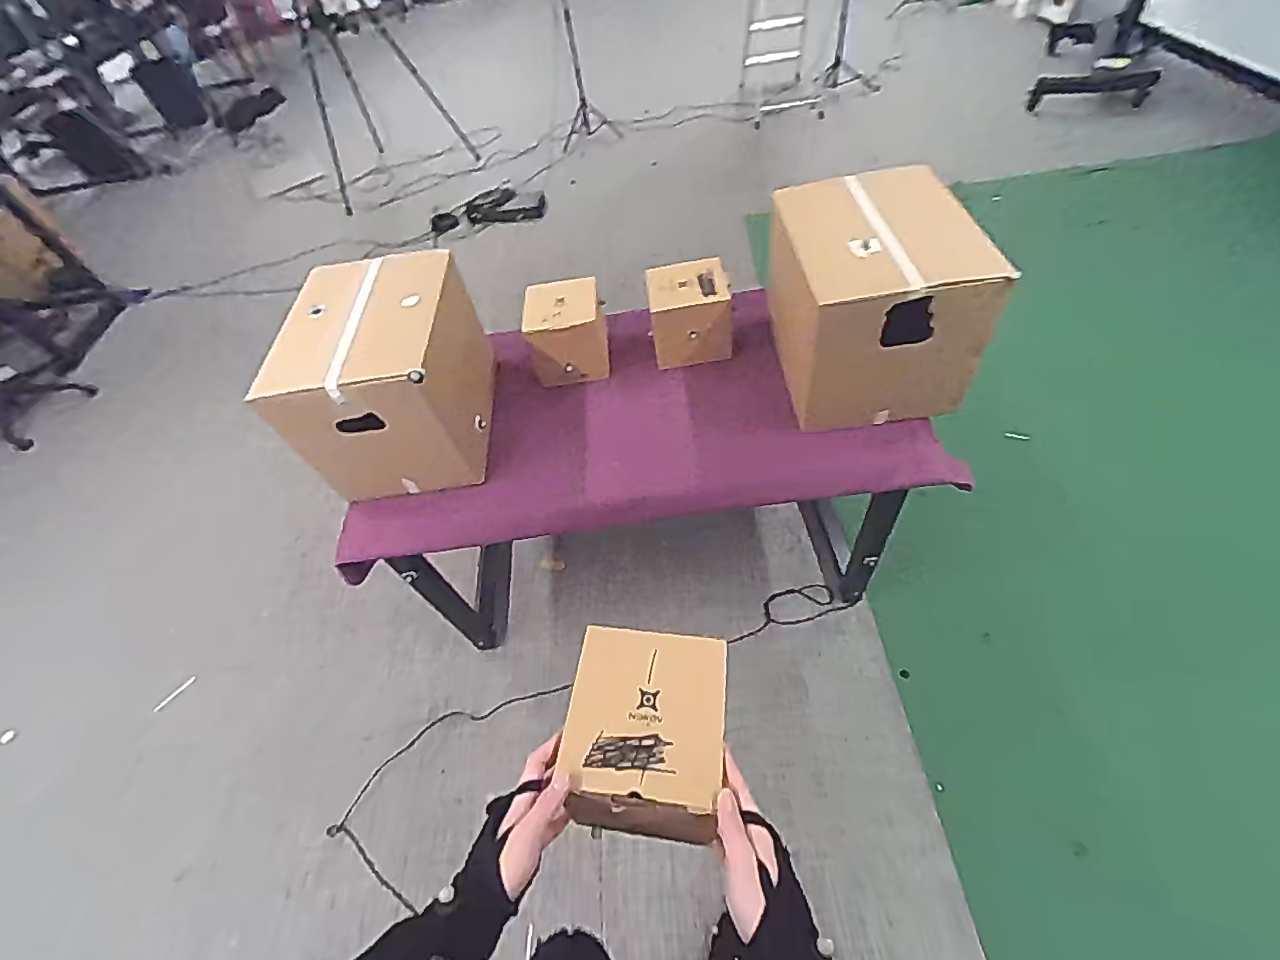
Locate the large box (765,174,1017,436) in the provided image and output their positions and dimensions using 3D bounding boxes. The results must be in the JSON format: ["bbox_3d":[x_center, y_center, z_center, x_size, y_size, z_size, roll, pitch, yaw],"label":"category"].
[{"bbox_3d":[0.451,-0.352,1.097,0.320,0.320,0.408,-8,53,5],"label":"large box"}]

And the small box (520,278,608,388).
[{"bbox_3d":[-0.171,-0.344,1.276,0.168,0.176,0.179,-8,52,5],"label":"small box"}]

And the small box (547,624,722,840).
[{"bbox_3d":[0.006,0.292,0.623,0.168,0.176,0.179,4,46,8],"label":"small box"}]
